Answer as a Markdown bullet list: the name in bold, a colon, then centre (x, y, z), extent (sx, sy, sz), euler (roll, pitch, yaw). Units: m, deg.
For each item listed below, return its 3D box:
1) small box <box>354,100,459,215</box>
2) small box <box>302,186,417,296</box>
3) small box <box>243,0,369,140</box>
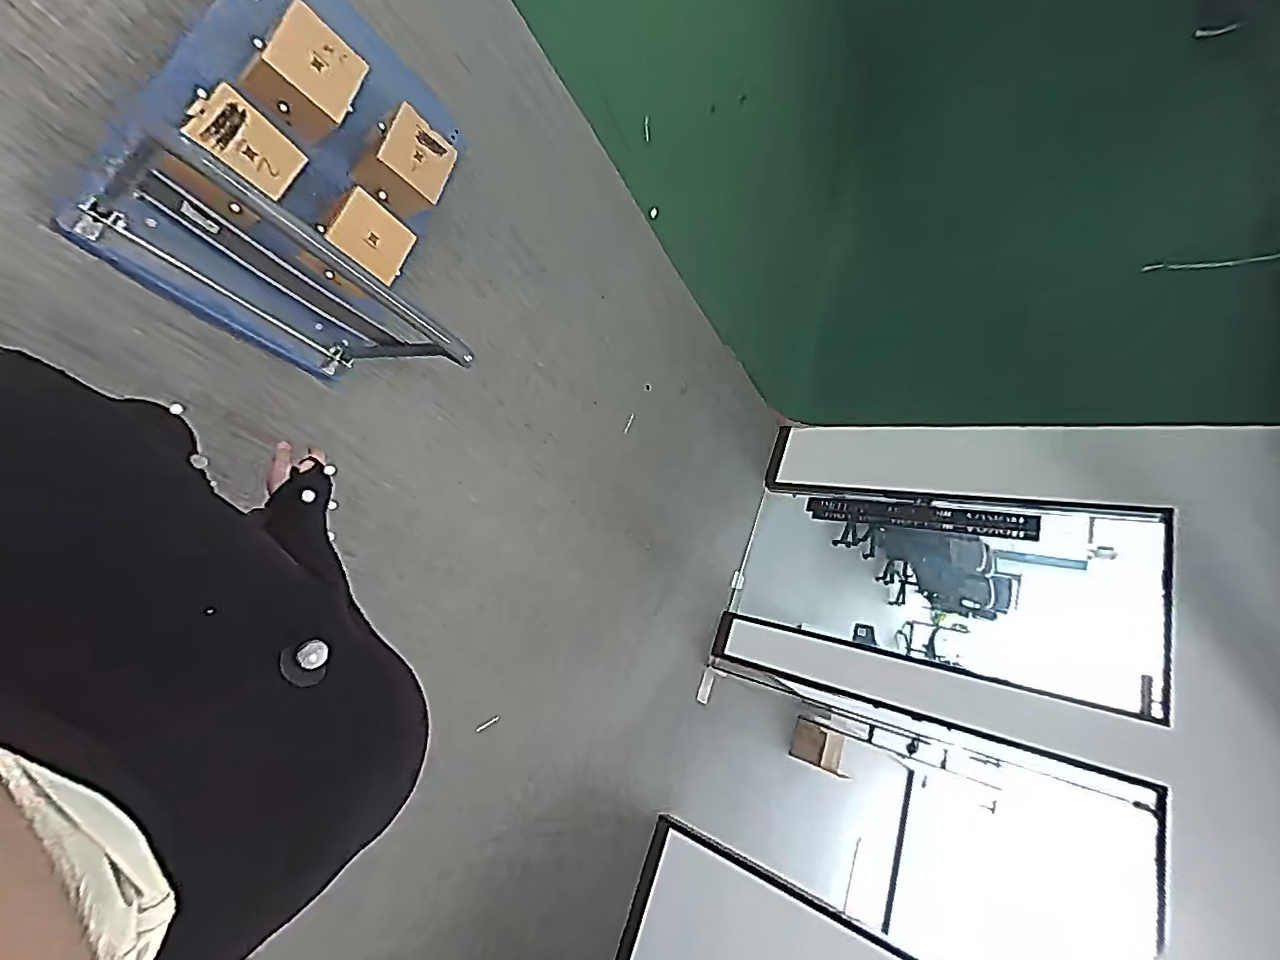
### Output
- **small box**: centre (-0.612, -0.831, 1.411), extent (0.168, 0.176, 0.179), euler (31, 72, -48)
- **small box**: centre (-0.698, -0.584, 1.341), extent (0.168, 0.176, 0.179), euler (38, 66, -47)
- **small box**: centre (-0.757, -0.916, 1.222), extent (0.168, 0.176, 0.179), euler (32, 70, -49)
